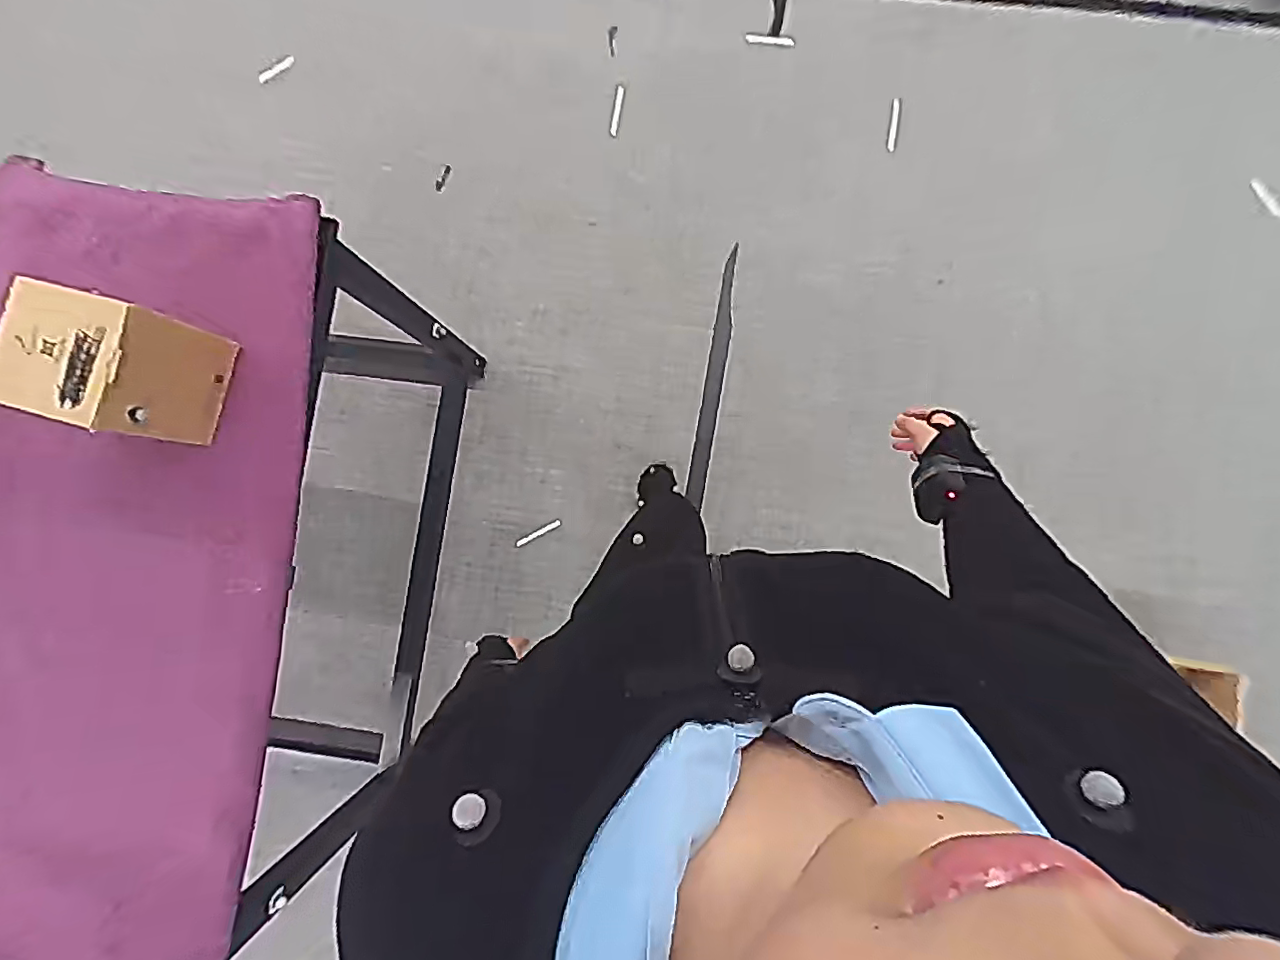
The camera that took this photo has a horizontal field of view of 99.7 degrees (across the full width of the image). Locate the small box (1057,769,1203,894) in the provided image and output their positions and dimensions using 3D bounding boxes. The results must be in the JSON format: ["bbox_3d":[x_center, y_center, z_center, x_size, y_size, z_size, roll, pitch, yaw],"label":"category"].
[{"bbox_3d":[1.132,0.806,1.261,0.179,0.176,0.168,13,86,5],"label":"small box"}]
